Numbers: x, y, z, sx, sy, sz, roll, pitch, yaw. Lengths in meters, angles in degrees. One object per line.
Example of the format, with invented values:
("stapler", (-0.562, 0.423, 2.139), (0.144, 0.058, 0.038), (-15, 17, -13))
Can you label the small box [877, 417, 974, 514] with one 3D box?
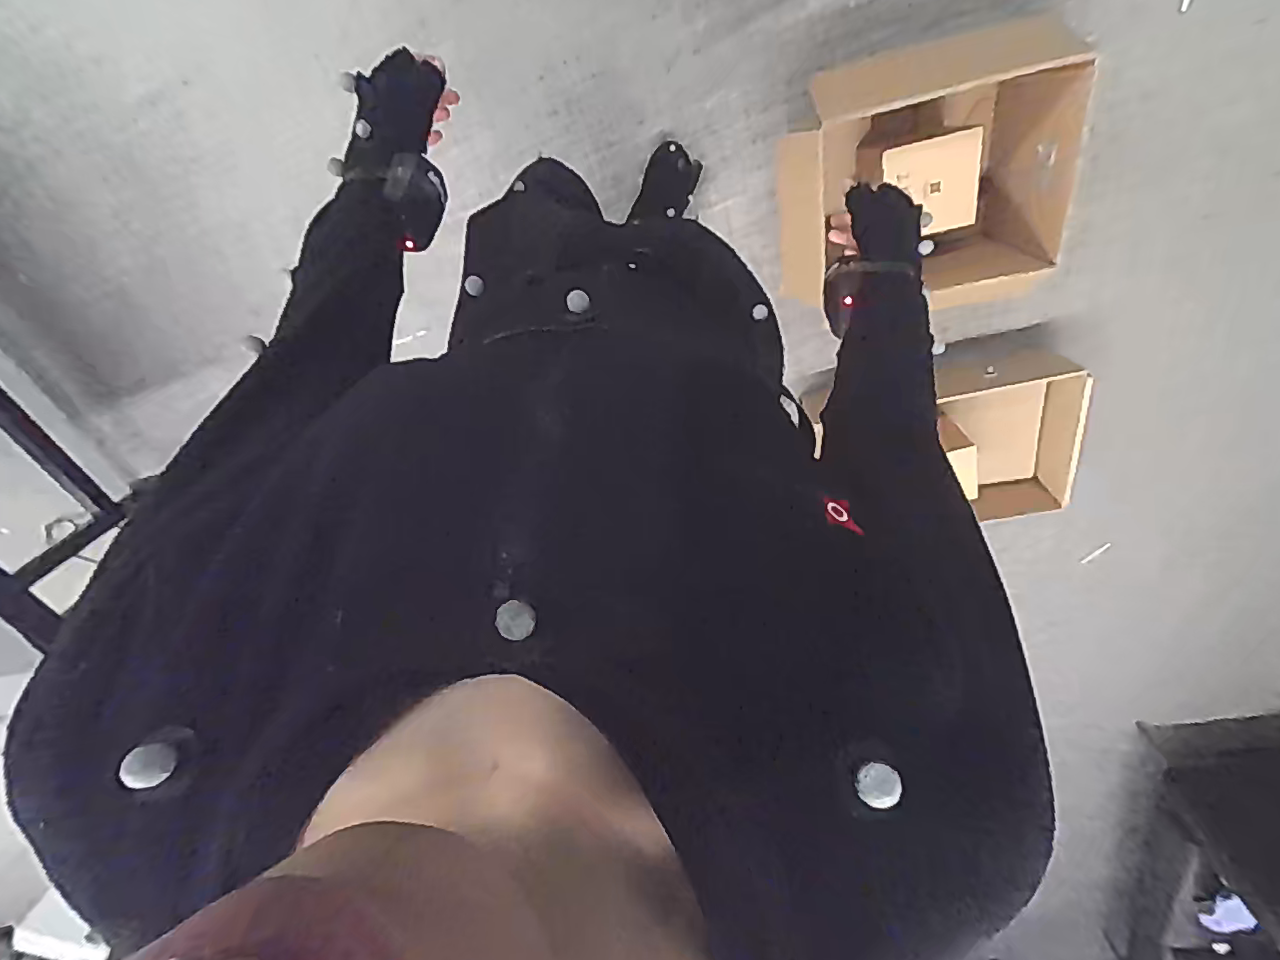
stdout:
("small box", (0.738, -0.042, 1.404), (0.179, 0.176, 0.168), (-15, 122, 14))
